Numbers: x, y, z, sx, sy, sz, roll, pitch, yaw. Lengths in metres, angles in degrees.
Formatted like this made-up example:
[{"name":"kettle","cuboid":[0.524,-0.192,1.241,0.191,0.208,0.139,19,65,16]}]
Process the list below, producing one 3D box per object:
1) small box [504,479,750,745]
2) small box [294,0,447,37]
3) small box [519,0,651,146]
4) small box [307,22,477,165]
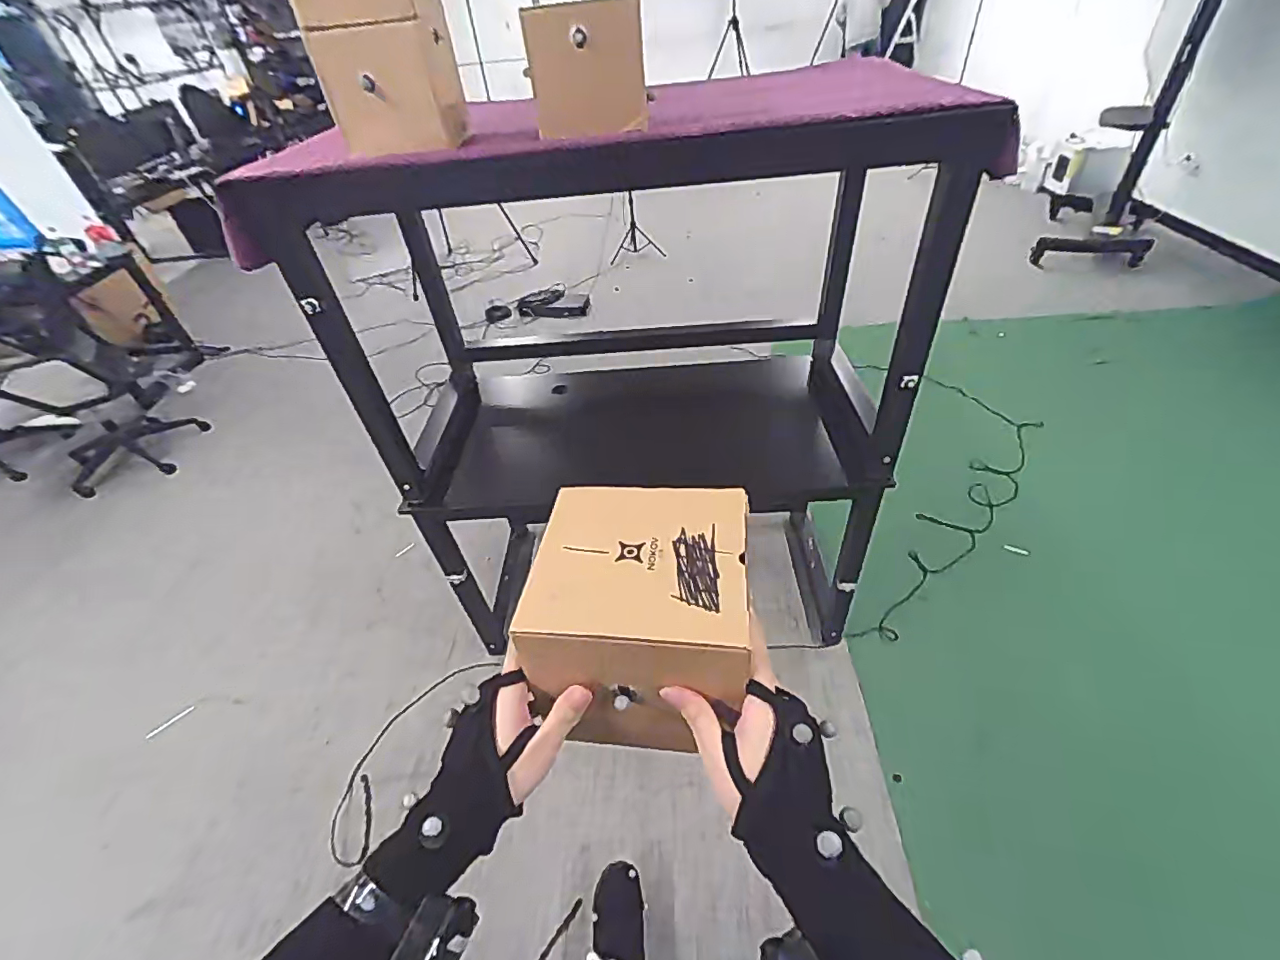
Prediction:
[{"name":"small box","cuboid":[0.005,0.116,0.485,0.179,0.176,0.168,1,39,10]},{"name":"small box","cuboid":[-0.408,-0.758,0.787,0.179,0.176,0.168,-4,41,1]},{"name":"small box","cuboid":[-0.077,-0.651,0.869,0.179,0.176,0.168,-4,41,3]},{"name":"small box","cuboid":[-0.392,-0.634,0.891,0.179,0.176,0.168,-5,41,3]}]
